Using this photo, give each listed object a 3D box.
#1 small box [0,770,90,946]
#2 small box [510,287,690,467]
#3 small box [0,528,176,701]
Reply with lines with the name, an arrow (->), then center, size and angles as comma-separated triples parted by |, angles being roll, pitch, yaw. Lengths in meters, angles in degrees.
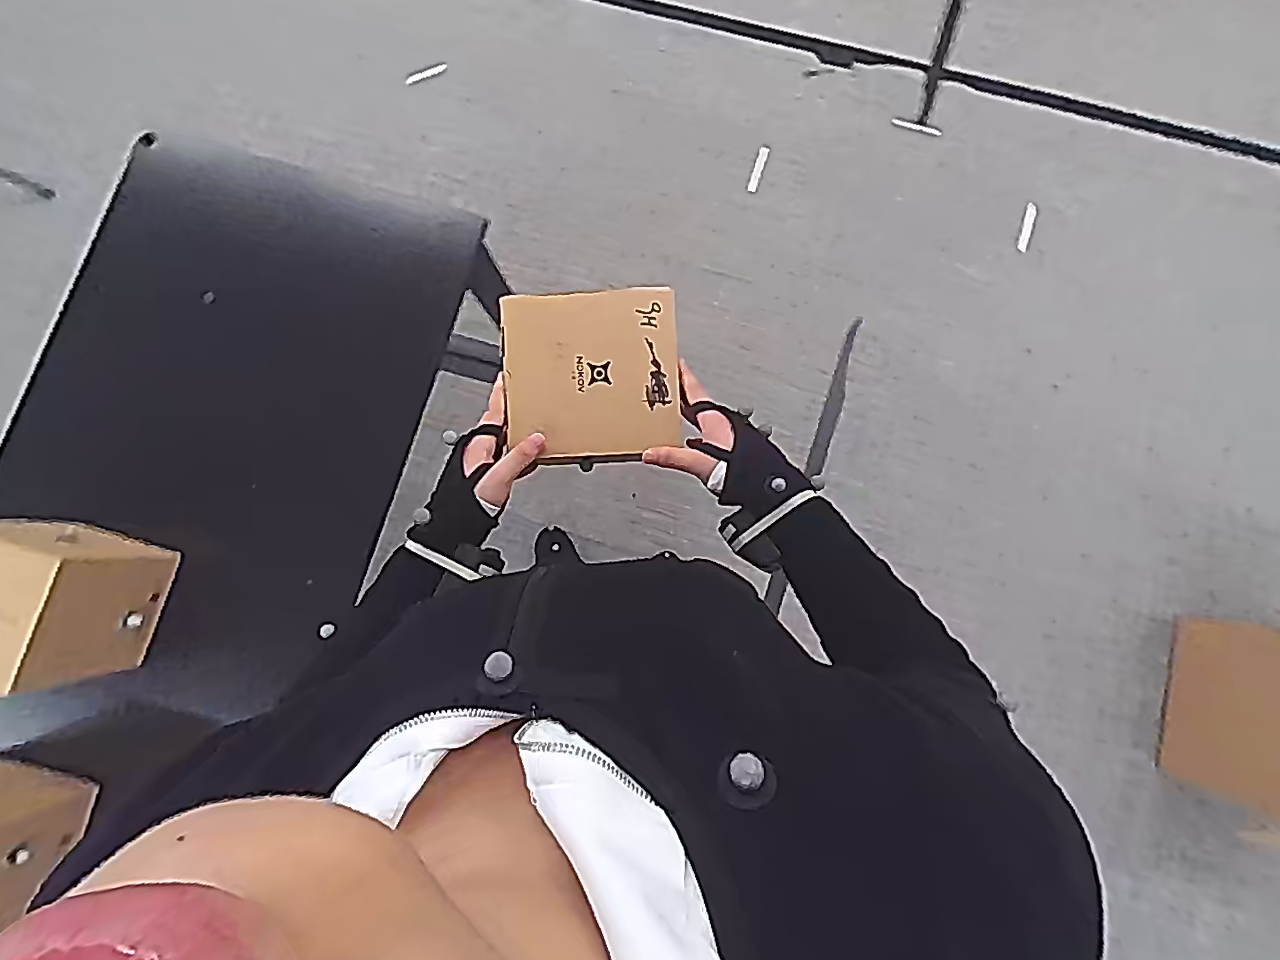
small box -> -0.856, 0.484, 0.665 | 0.179, 0.176, 0.168 | 12, 82, 4
small box -> -0.036, -0.101, 0.606 | 0.179, 0.176, 0.168 | -2, 89, 2
small box -> -0.777, 0.163, 0.702 | 0.179, 0.176, 0.168 | 15, 84, 3
